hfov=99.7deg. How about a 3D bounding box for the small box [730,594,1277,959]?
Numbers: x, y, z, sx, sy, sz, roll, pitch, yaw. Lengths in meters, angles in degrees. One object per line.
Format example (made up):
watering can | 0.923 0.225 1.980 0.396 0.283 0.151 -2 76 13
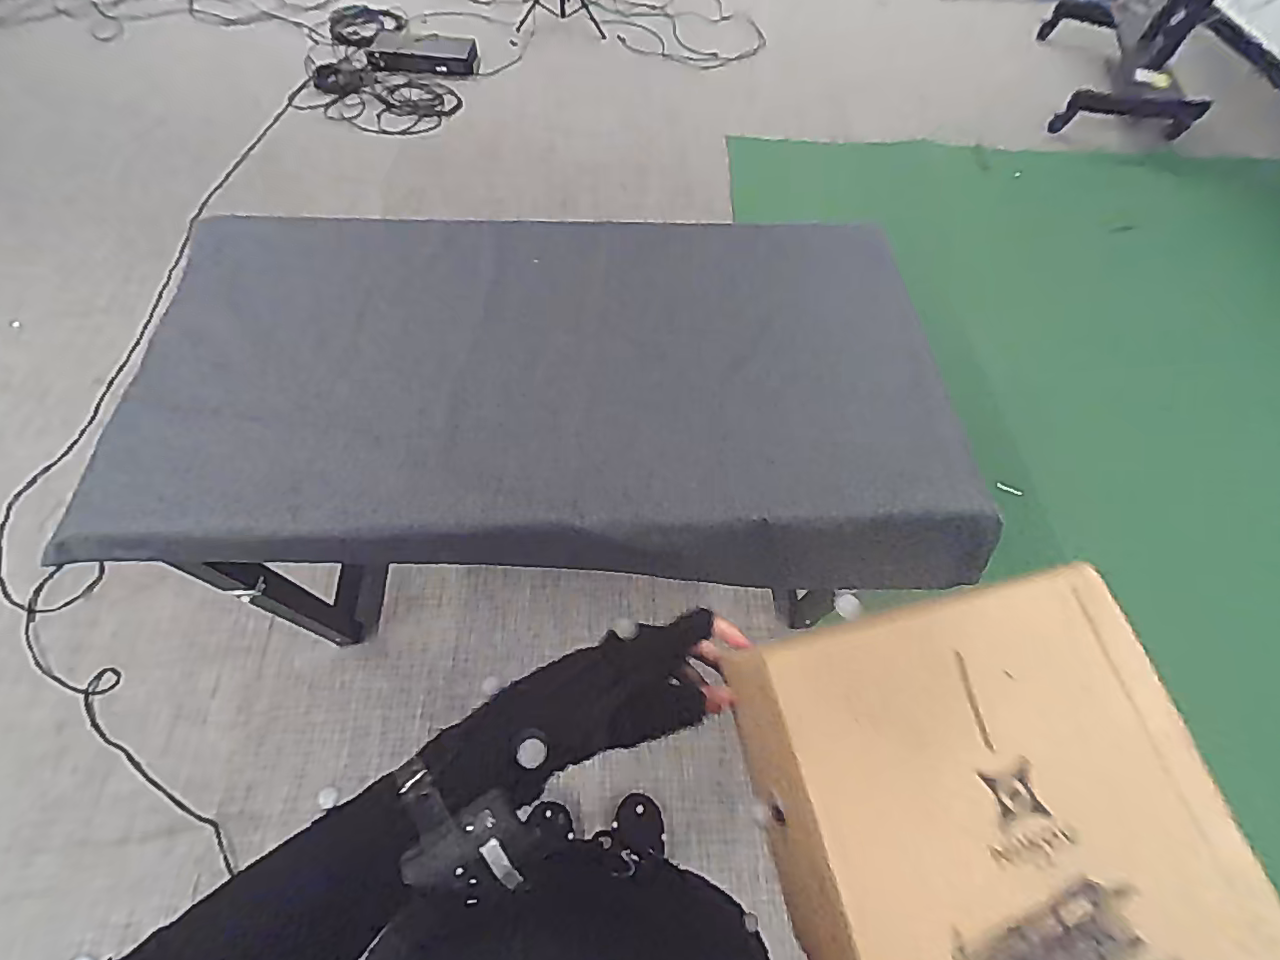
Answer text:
small box | 0.159 0.175 0.304 0.168 0.176 0.179 -14 72 -3
